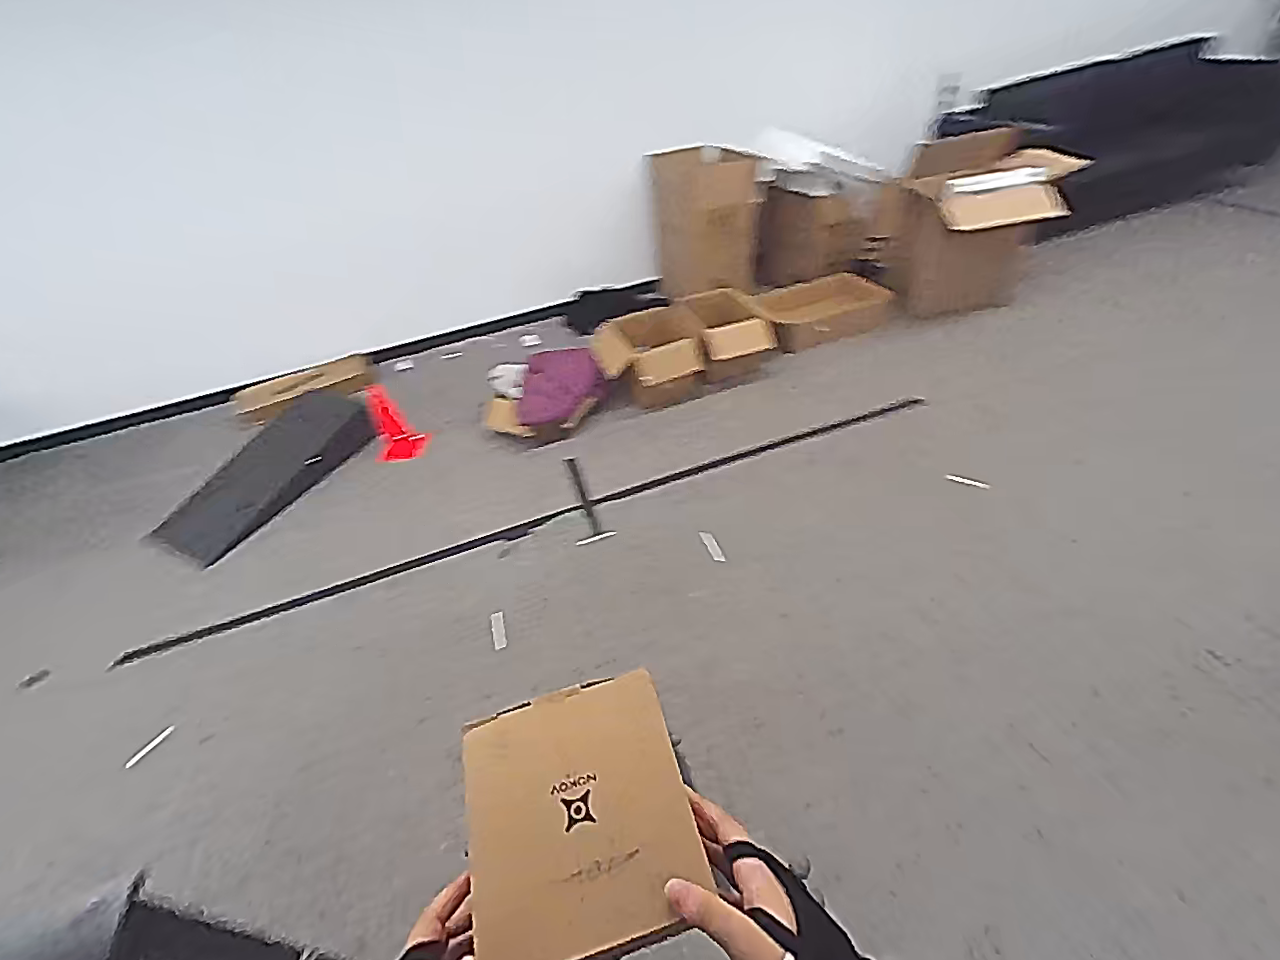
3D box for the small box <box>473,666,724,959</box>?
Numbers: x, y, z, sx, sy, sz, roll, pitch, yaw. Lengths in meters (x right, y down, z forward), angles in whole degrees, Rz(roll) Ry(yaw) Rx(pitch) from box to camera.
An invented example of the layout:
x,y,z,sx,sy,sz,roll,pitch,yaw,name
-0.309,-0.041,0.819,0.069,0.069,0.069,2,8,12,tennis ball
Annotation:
x,y,z,sx,sy,sz,roll,pitch,yaw,name
-0.037,0.295,0.468,0.168,0.176,0.179,-14,49,-7,small box
